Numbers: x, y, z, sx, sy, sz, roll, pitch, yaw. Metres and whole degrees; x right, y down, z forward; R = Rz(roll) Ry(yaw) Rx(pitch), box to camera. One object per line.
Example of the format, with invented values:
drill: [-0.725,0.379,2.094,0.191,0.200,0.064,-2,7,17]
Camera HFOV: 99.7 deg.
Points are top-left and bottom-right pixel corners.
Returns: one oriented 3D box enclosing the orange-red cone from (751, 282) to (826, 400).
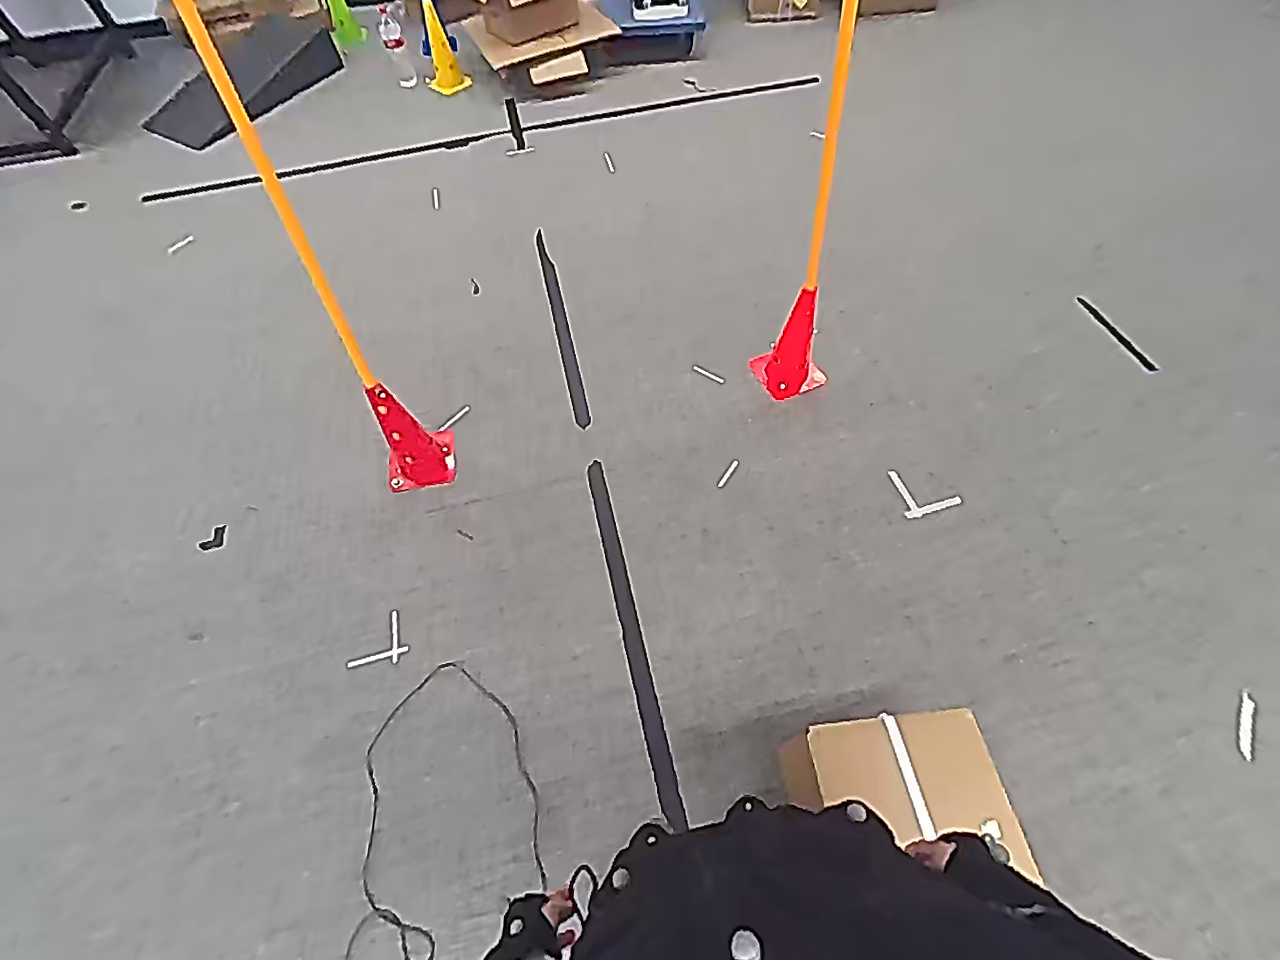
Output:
orange-red cone: [0.487,-0.448,1.648,0.199,0.360,0.198,-20,61,-11]
